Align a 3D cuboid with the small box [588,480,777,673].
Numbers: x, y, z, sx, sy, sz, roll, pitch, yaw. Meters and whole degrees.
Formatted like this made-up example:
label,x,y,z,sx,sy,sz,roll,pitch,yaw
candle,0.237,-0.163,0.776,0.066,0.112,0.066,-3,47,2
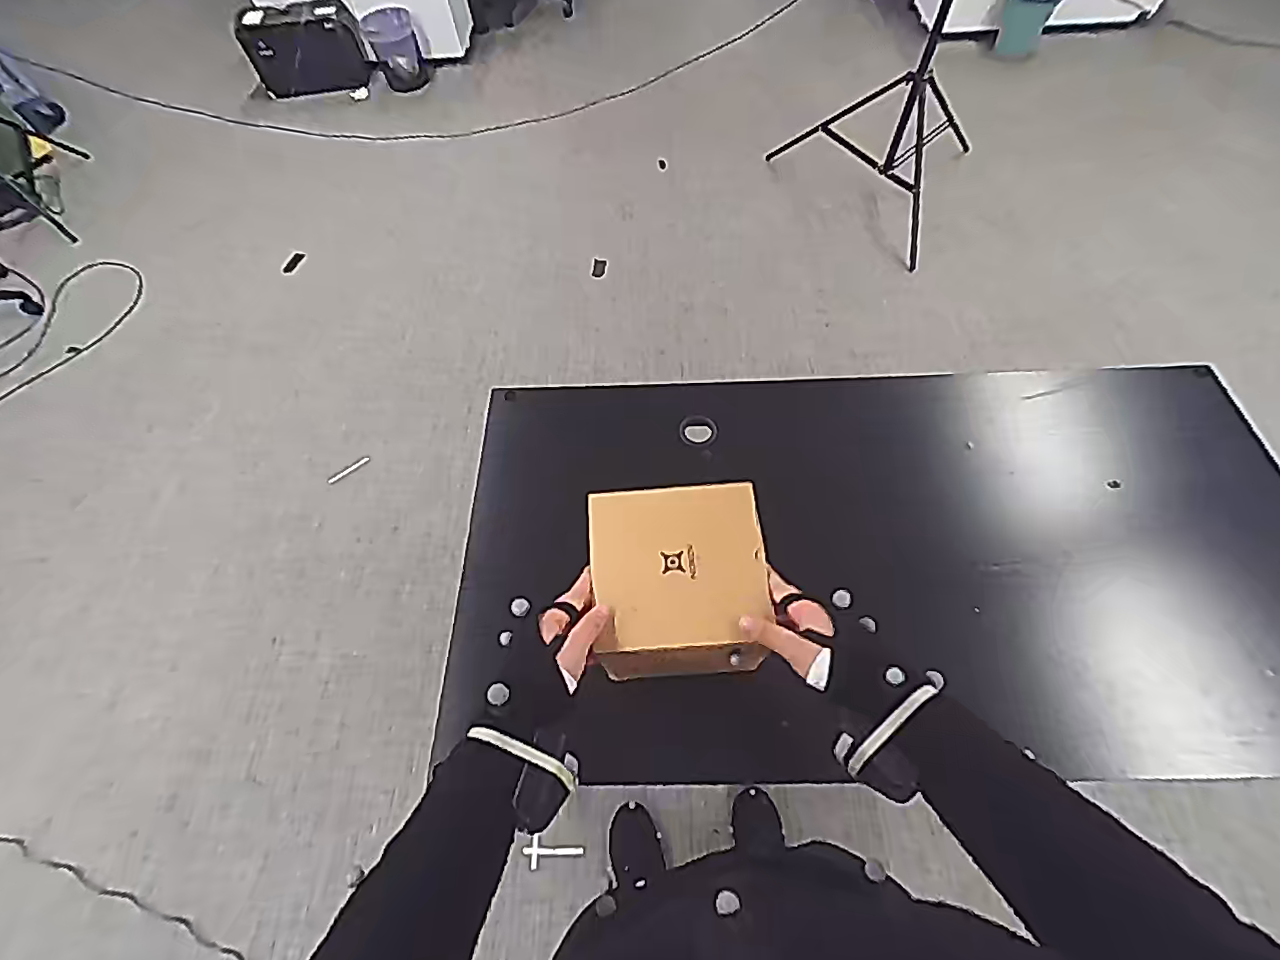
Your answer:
label,x,y,z,sx,sy,sz,roll,pitch,yaw
small box,0.041,0.115,0.607,0.179,0.176,0.168,-5,63,0
